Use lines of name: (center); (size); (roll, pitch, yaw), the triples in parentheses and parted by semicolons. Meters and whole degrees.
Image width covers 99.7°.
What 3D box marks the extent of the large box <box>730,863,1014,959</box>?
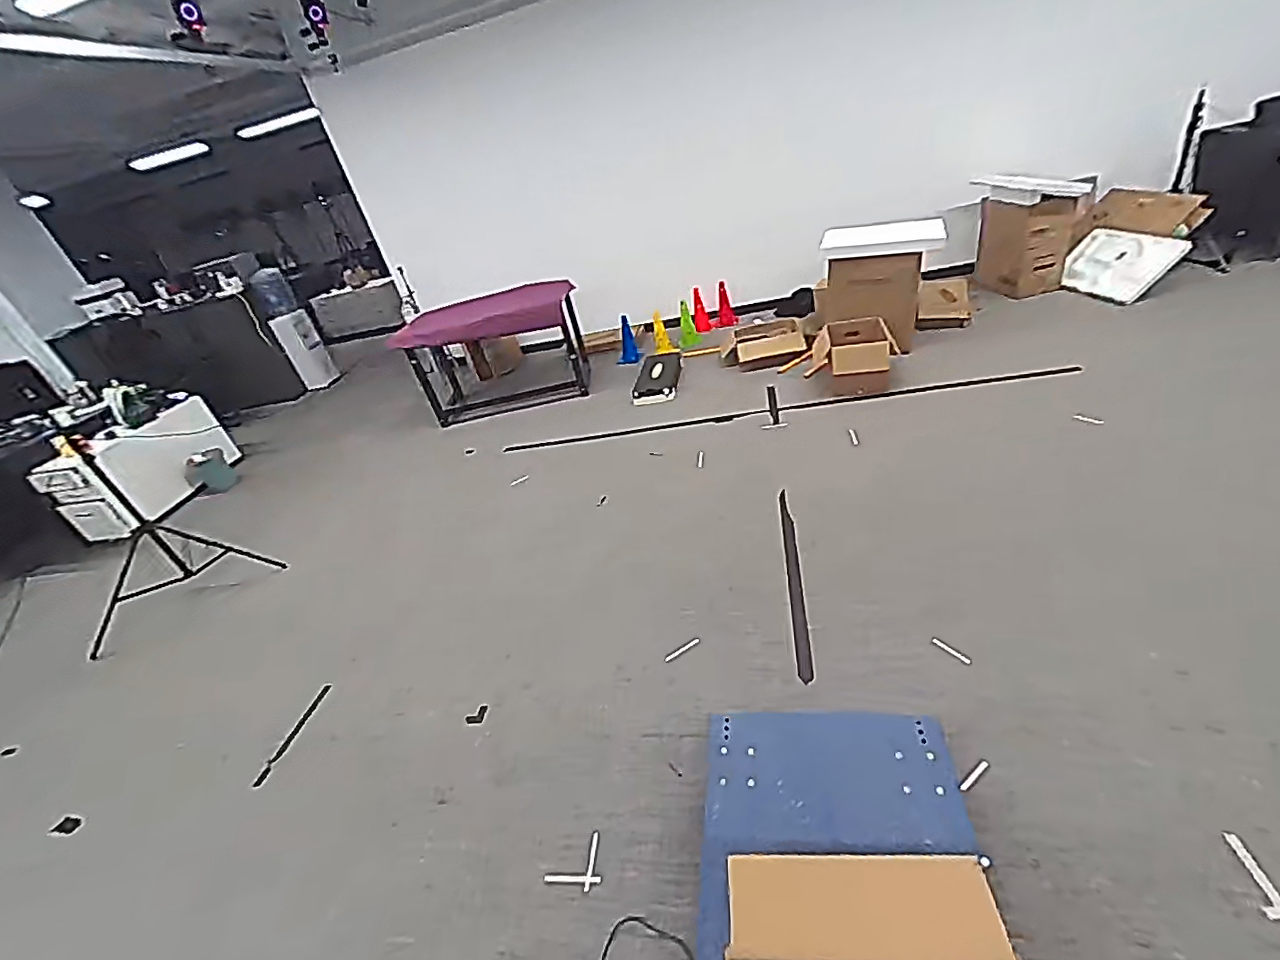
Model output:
large box: (0.367, 0.852, 0.859); (0.408, 0.320, 0.320); (-7, 33, 10)
